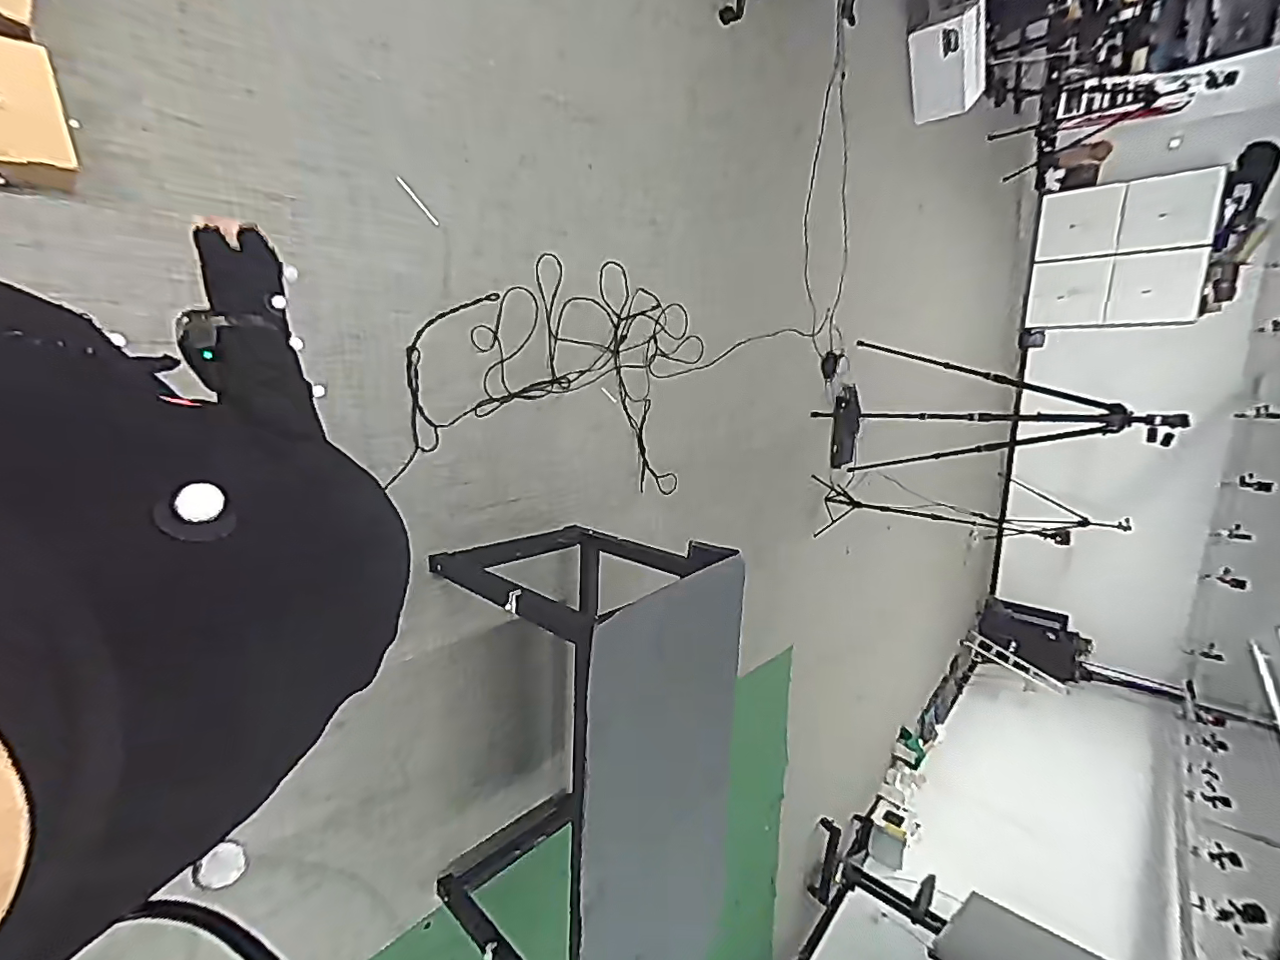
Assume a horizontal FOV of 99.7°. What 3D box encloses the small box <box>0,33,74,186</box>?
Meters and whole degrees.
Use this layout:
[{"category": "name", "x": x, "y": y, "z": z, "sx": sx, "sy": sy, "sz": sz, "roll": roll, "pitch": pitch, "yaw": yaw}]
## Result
[{"category": "small box", "x": -1.047, "y": -0.594, "z": 0.862, "sx": 0.168, "sy": 0.176, "sz": 0.179, "roll": -17, "pitch": 112, "yaw": -45}]
